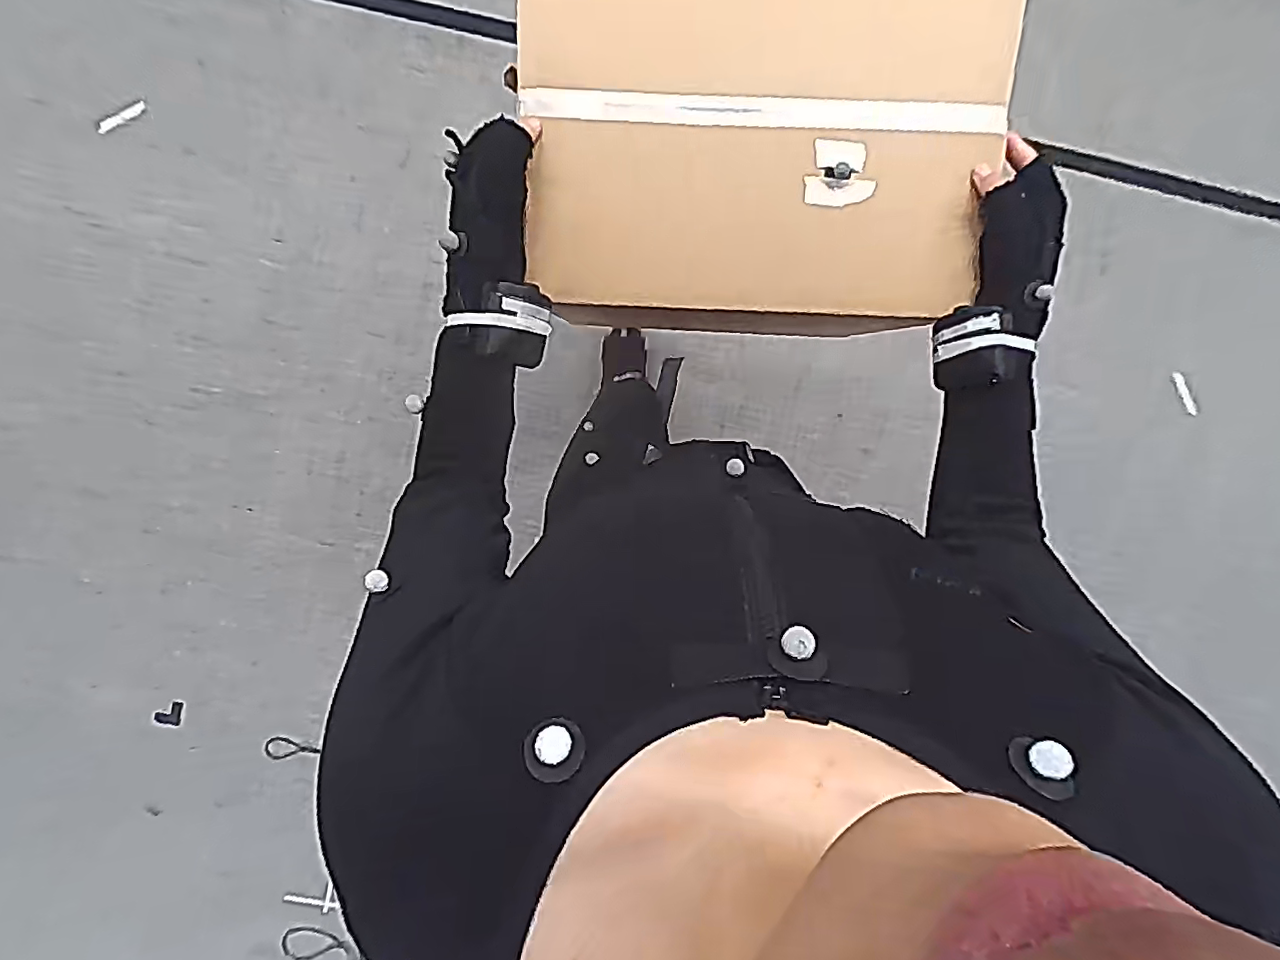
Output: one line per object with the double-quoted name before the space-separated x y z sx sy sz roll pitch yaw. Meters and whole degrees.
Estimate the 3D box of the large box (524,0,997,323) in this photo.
"large box" 0.097 -0.352 0.616 0.408 0.320 0.320 2 103 -1
